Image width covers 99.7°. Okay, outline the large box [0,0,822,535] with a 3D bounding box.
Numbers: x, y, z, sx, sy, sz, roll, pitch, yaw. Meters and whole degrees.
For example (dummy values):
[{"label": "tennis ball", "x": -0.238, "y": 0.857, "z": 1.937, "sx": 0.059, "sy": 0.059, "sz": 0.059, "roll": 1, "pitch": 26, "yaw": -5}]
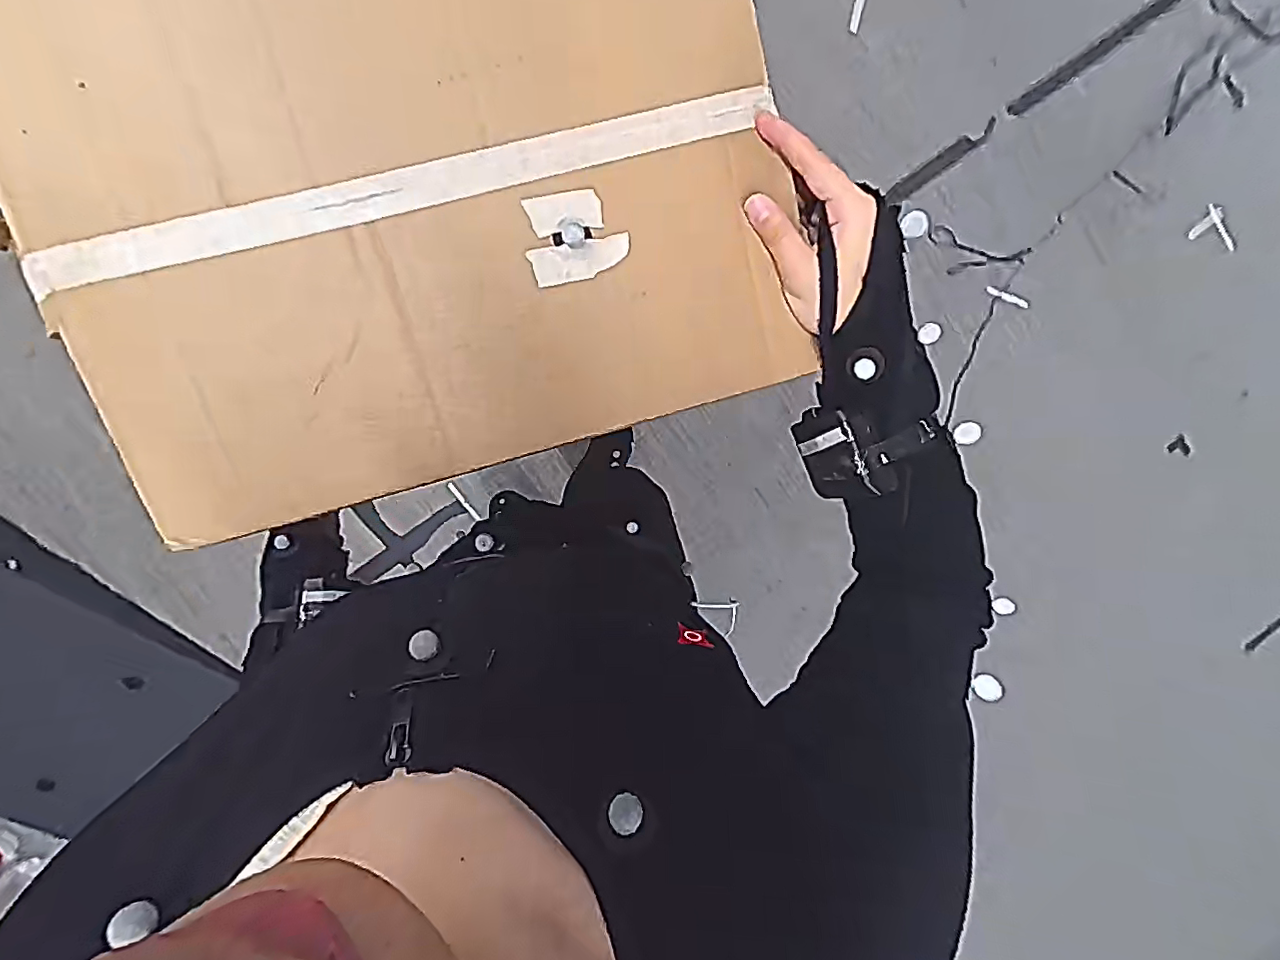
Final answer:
[{"label": "large box", "x": -0.129, "y": -0.188, "z": 0.455, "sx": 0.408, "sy": 0.320, "sz": 0.320, "roll": -17, "pitch": 102, "yaw": -7}]
